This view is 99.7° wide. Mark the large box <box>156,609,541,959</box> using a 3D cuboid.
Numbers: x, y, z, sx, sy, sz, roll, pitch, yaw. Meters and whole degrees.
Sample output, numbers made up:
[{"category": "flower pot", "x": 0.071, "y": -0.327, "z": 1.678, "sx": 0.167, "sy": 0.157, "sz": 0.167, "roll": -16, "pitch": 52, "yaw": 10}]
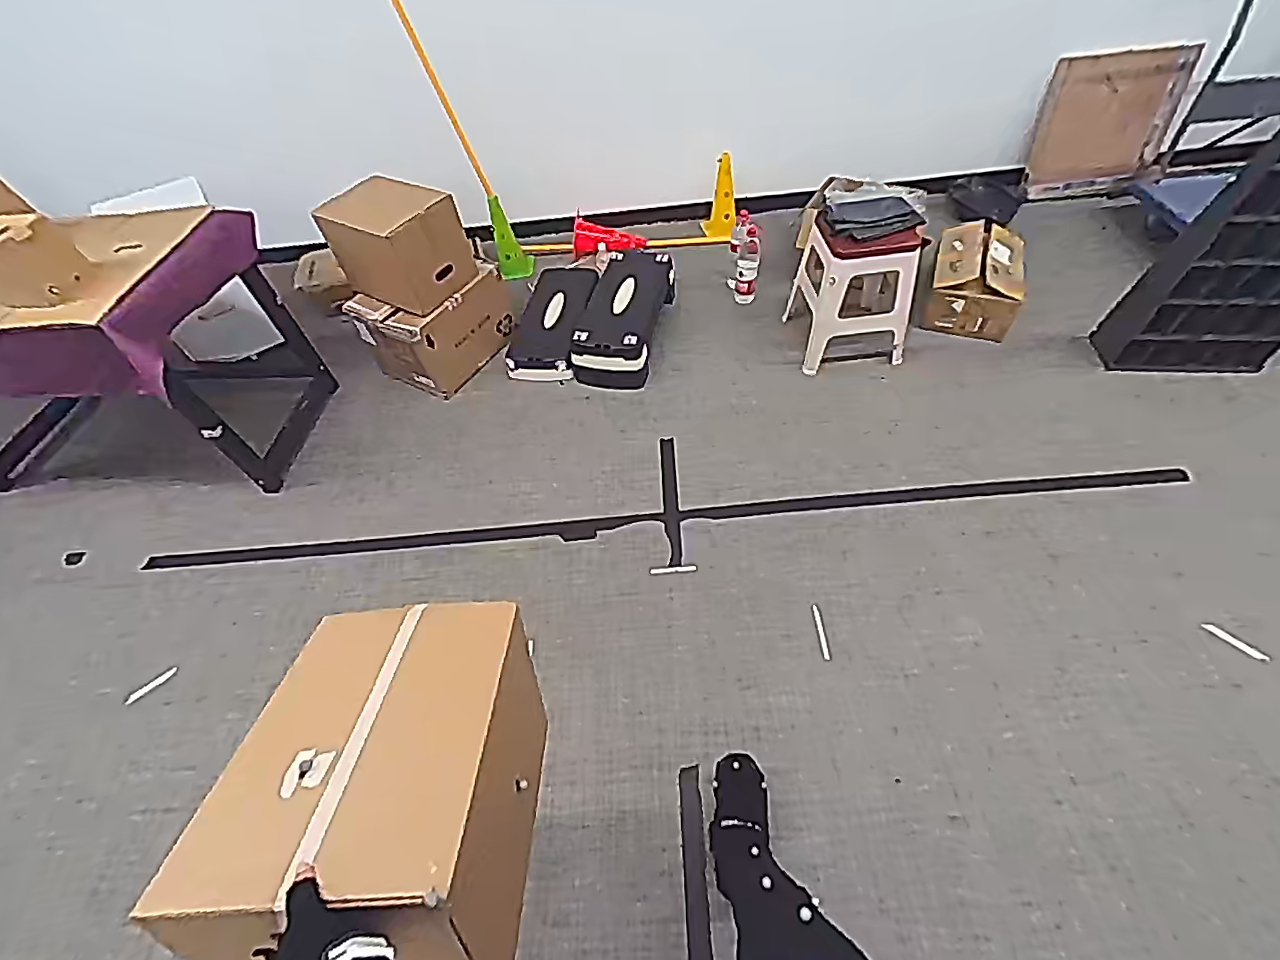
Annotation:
[{"category": "large box", "x": -0.338, "y": 0.448, "z": 0.790, "sx": 0.320, "sy": 0.320, "sz": 0.408, "roll": -5, "pitch": 32, "yaw": 2}]
